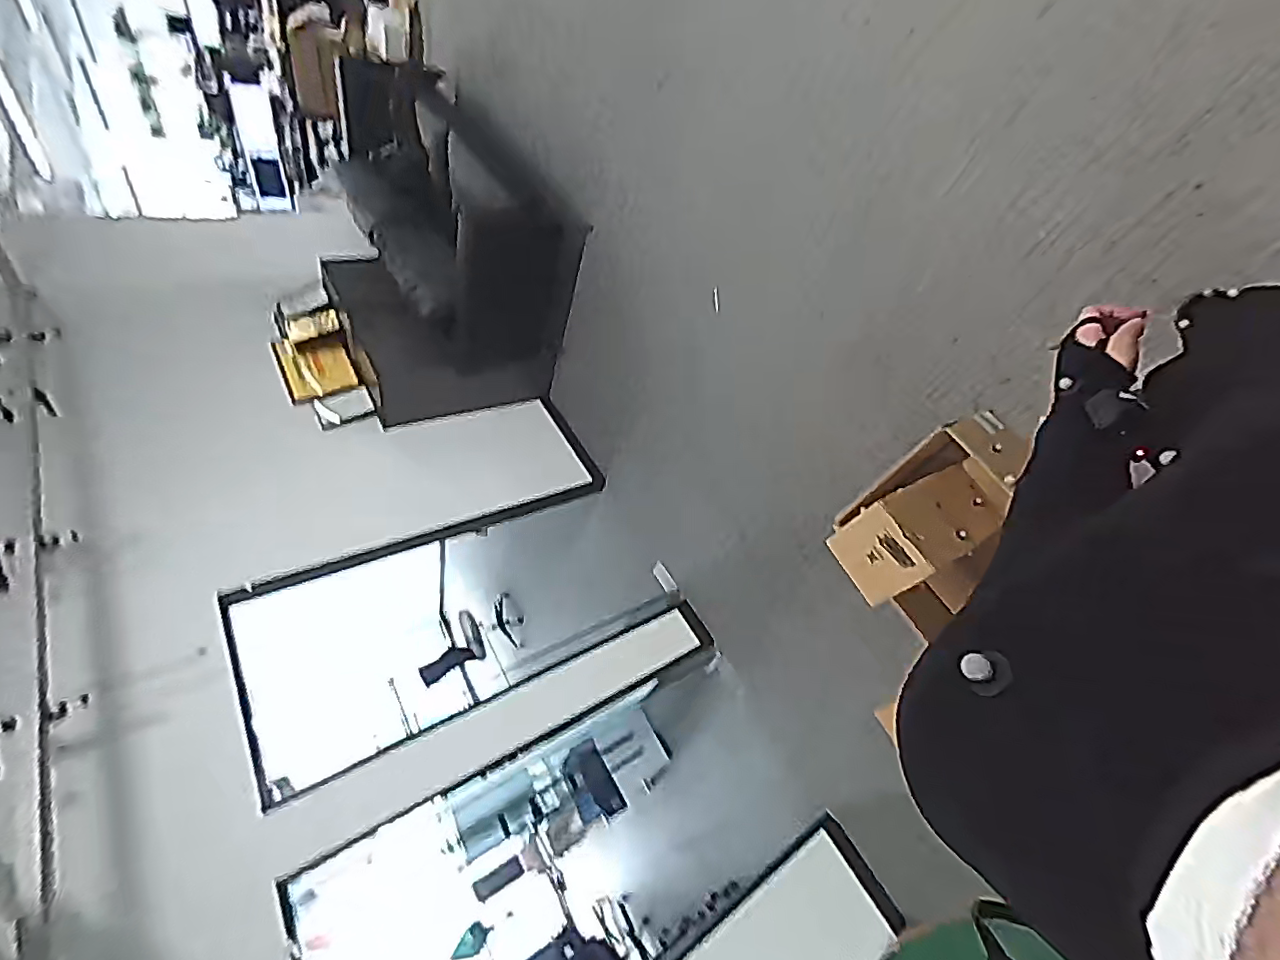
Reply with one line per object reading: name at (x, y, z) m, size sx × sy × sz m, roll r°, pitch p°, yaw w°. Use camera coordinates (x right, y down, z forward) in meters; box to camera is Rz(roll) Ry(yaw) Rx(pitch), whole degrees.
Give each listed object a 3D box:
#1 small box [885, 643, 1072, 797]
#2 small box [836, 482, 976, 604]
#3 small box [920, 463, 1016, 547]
small box at (0.569, 0.404, 0.915) m, size 0.168 × 0.176 × 0.179 m, roll 58°, pitch 146°, yaw 21°
small box at (0.554, 0.125, 1.118) m, size 0.168 × 0.176 × 0.179 m, roll 59°, pitch 146°, yaw 22°
small box at (0.685, 0.087, 1.211) m, size 0.168 × 0.176 × 0.179 m, roll 58°, pitch 145°, yaw 23°
